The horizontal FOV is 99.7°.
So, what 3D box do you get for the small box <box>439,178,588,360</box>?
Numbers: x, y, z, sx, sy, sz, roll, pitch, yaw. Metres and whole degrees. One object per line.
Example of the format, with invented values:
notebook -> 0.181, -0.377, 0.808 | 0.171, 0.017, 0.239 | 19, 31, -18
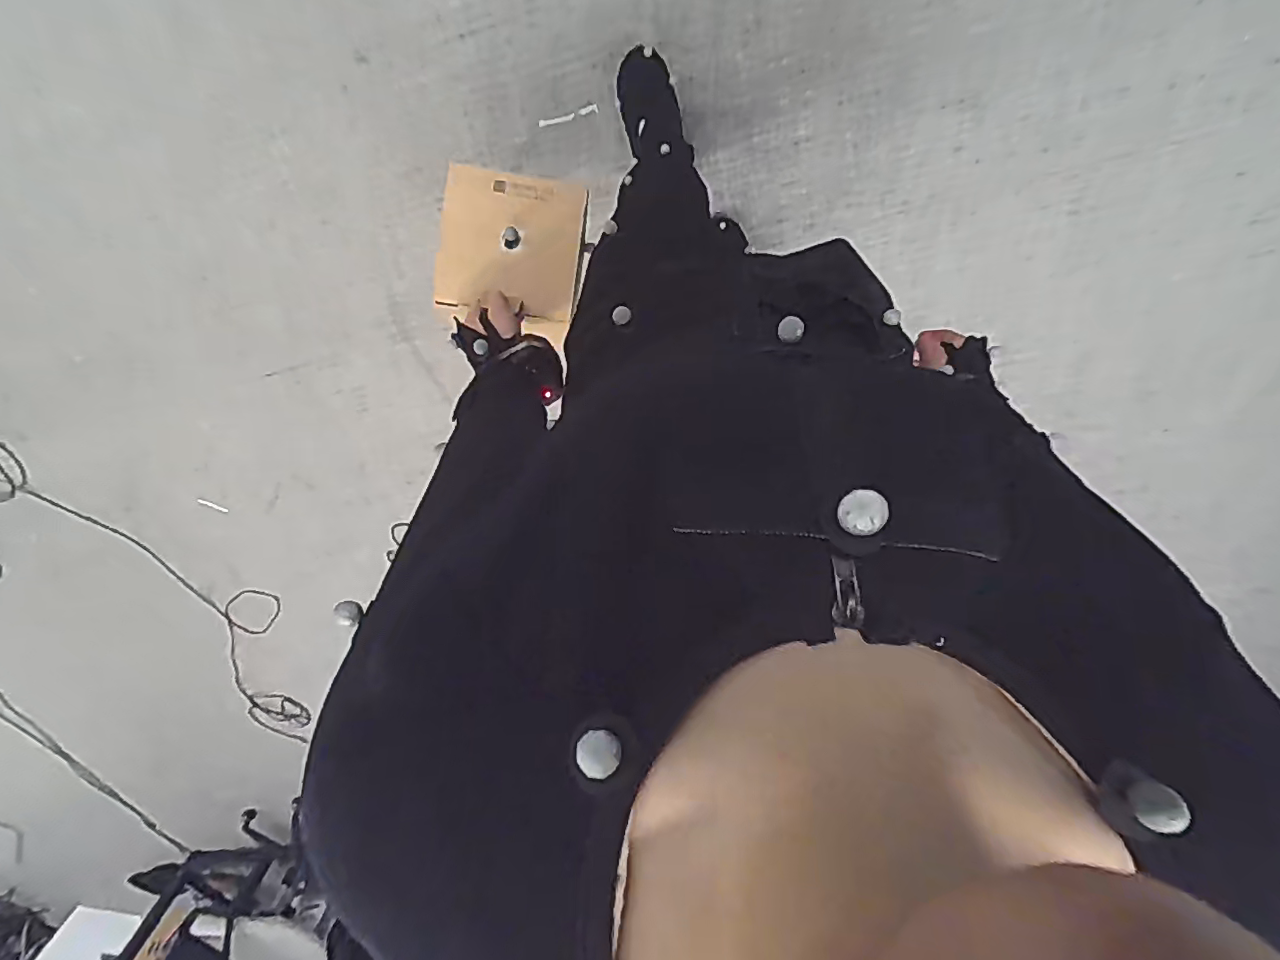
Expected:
small box -> -0.164, -0.276, 0.735 | 0.168, 0.179, 0.176 | 8, 88, -8
